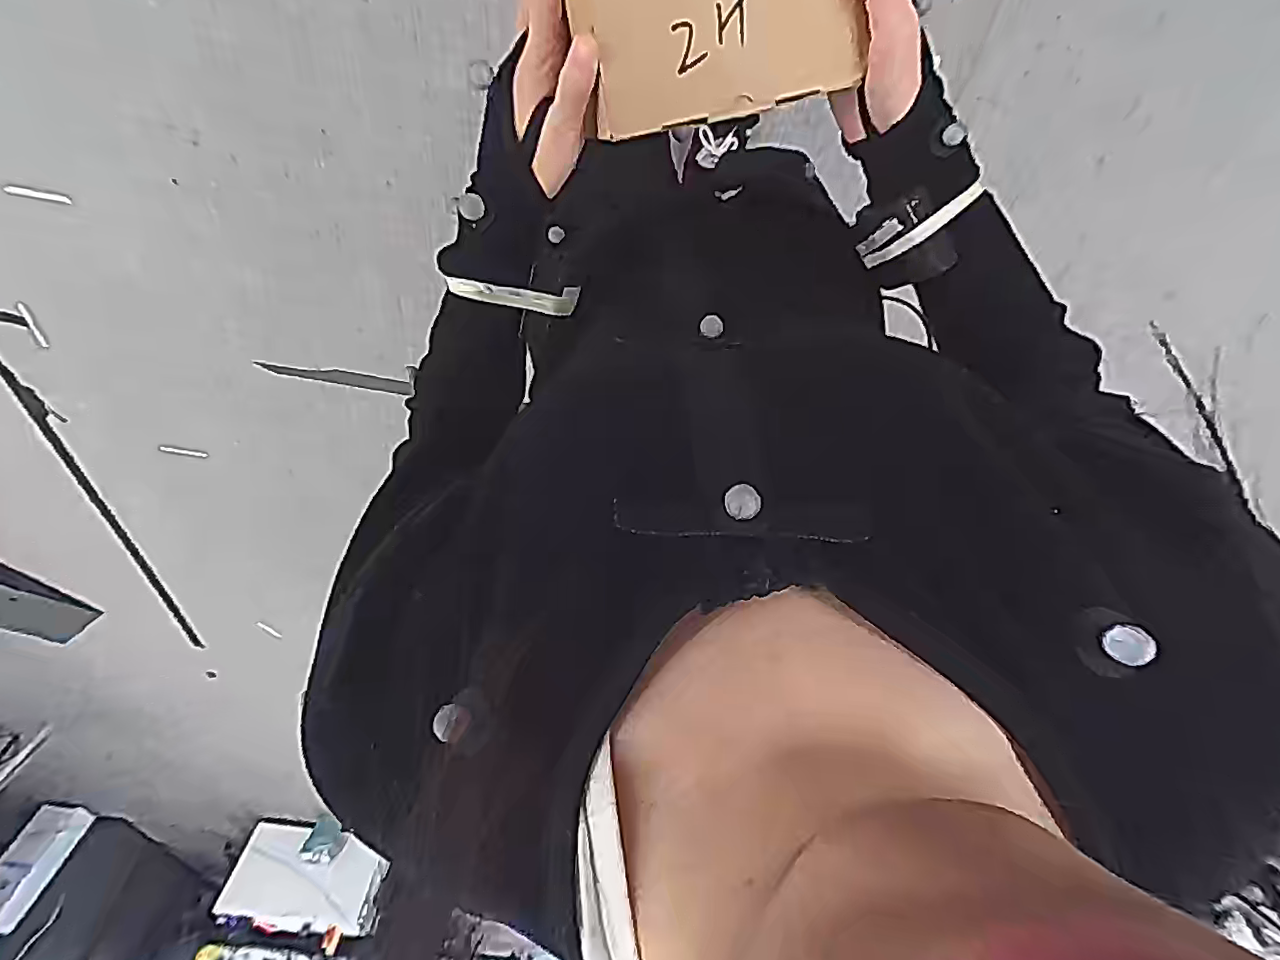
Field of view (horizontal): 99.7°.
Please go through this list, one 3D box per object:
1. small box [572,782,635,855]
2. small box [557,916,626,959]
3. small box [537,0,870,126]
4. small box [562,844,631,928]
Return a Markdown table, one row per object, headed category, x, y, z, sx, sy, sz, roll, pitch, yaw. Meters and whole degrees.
| category | x | y | z | sx | sy | sz | roll | pitch | yaw |
| --- | --- | --- | --- | --- | --- | --- | --- | --- | --- |
| small box | -0.110 | 1.046 | 1.648 | 0.168 | 0.176 | 0.179 | 10 | 131 | -4 |
| small box | -0.132 | 1.262 | 1.402 | 0.168 | 0.176 | 0.179 | 10 | 130 | -4 |
| small box | 0.022 | -0.334 | 0.330 | 0.168 | 0.176 | 0.179 | -17 | 125 | -7 |
| small box | -0.119 | 1.157 | 1.528 | 0.168 | 0.176 | 0.179 | 9 | 132 | -4 |
